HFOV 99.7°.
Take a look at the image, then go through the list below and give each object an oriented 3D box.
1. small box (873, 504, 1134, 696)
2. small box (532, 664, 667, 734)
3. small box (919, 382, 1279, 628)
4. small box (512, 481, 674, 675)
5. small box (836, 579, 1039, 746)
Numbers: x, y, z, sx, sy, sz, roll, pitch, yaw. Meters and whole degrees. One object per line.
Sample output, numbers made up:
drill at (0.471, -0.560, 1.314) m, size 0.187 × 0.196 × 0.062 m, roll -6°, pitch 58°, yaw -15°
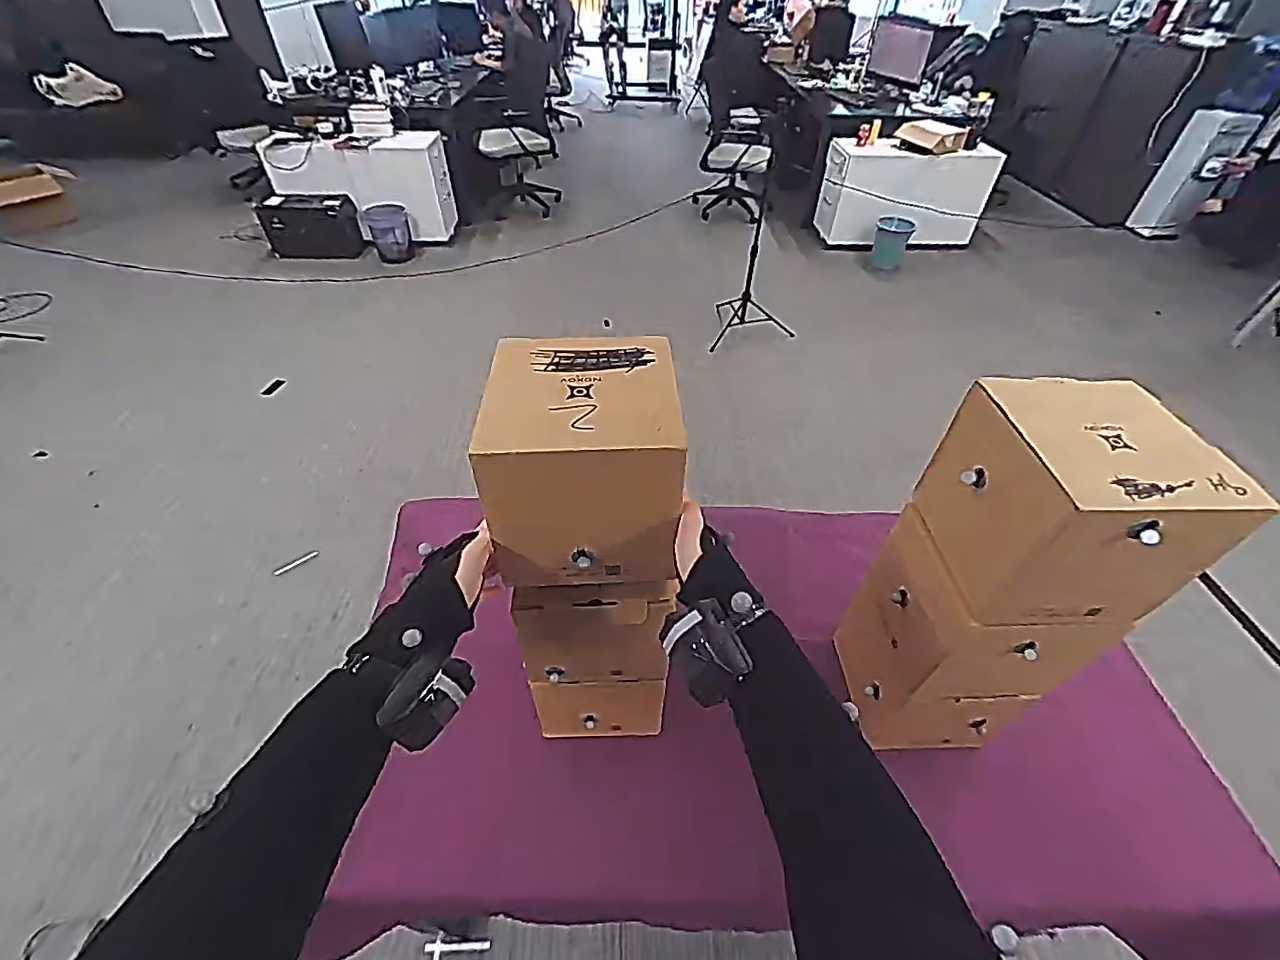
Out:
small box at (0.398, 0.143, 0.640) m, size 0.179 × 0.176 × 0.168 m, roll 0°, pitch 46°, yaw -3°
small box at (-0.054, 0.238, 0.764) m, size 0.168 × 0.176 × 0.179 m, roll 0°, pitch 46°, yaw -2°
small box at (0.407, 0.023, 0.528) m, size 0.168 × 0.176 × 0.179 m, roll 0°, pitch 45°, yaw -2°
small box at (-0.051, 0.121, 0.648) m, size 0.168 × 0.176 × 0.179 m, roll -1°, pitch 45°, yaw -4°
small box at (0.395, 0.257, 0.758) m, size 0.168 × 0.176 × 0.179 m, roll 1°, pitch 45°, yaw -2°
